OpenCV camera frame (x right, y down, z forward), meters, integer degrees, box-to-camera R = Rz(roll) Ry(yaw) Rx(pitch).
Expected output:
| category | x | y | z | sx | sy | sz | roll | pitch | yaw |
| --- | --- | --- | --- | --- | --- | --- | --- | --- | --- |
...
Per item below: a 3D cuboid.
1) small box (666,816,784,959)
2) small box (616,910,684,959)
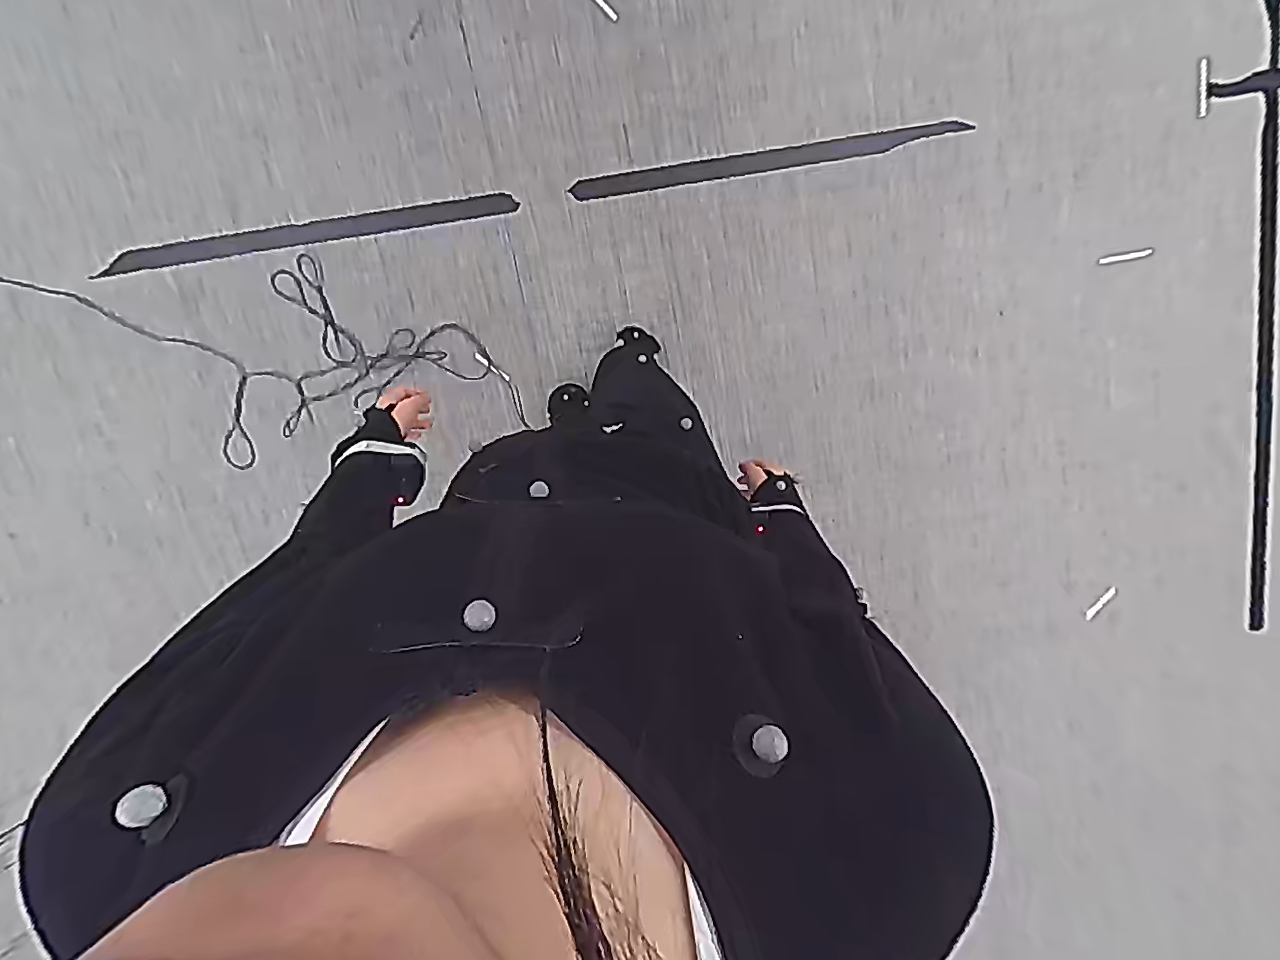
| category | x | y | z | sx | sy | sz | roll | pitch | yaw |
| --- | --- | --- | --- | --- | --- | --- | --- | --- | --- |
| small box | 0.143 | 0.723 | 0.945 | 0.168 | 0.176 | 0.179 | -7 | 101 | -3 |
| small box | 0.051 | 0.932 | 0.977 | 0.168 | 0.176 | 0.179 | -10 | 99 | -4 |
